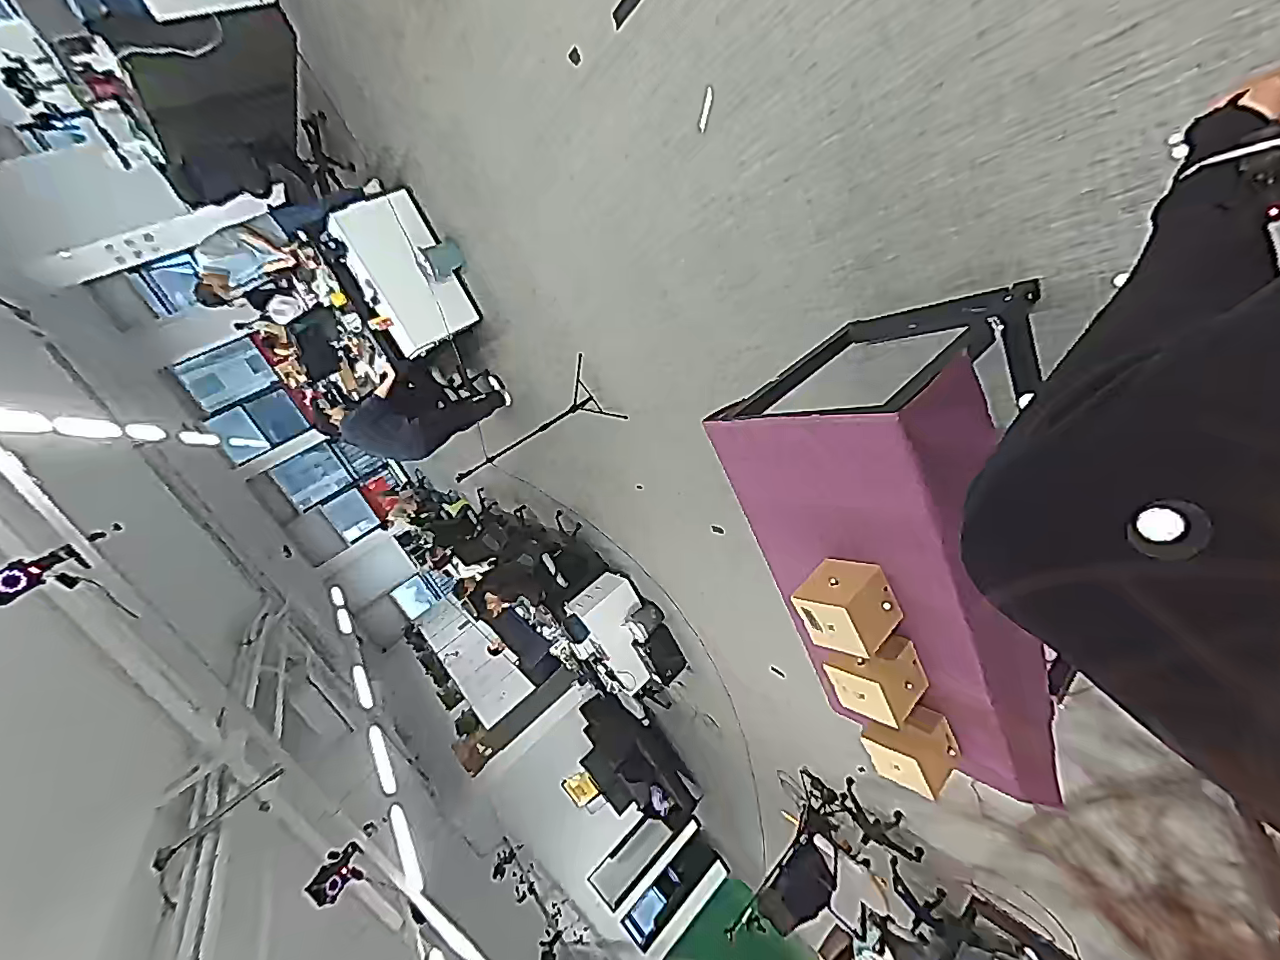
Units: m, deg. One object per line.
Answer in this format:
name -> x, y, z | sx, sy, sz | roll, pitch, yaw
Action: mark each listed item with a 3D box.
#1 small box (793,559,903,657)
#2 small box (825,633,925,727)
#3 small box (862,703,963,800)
small box -> 0.540, 0.322, 1.404 | 0.179, 0.176, 0.168 | -3, 120, 59
small box -> 0.649, 0.525, 1.477 | 0.179, 0.176, 0.168 | 3, 125, 58
small box -> 0.780, 0.756, 1.549 | 0.179, 0.176, 0.168 | 0, 123, 60
